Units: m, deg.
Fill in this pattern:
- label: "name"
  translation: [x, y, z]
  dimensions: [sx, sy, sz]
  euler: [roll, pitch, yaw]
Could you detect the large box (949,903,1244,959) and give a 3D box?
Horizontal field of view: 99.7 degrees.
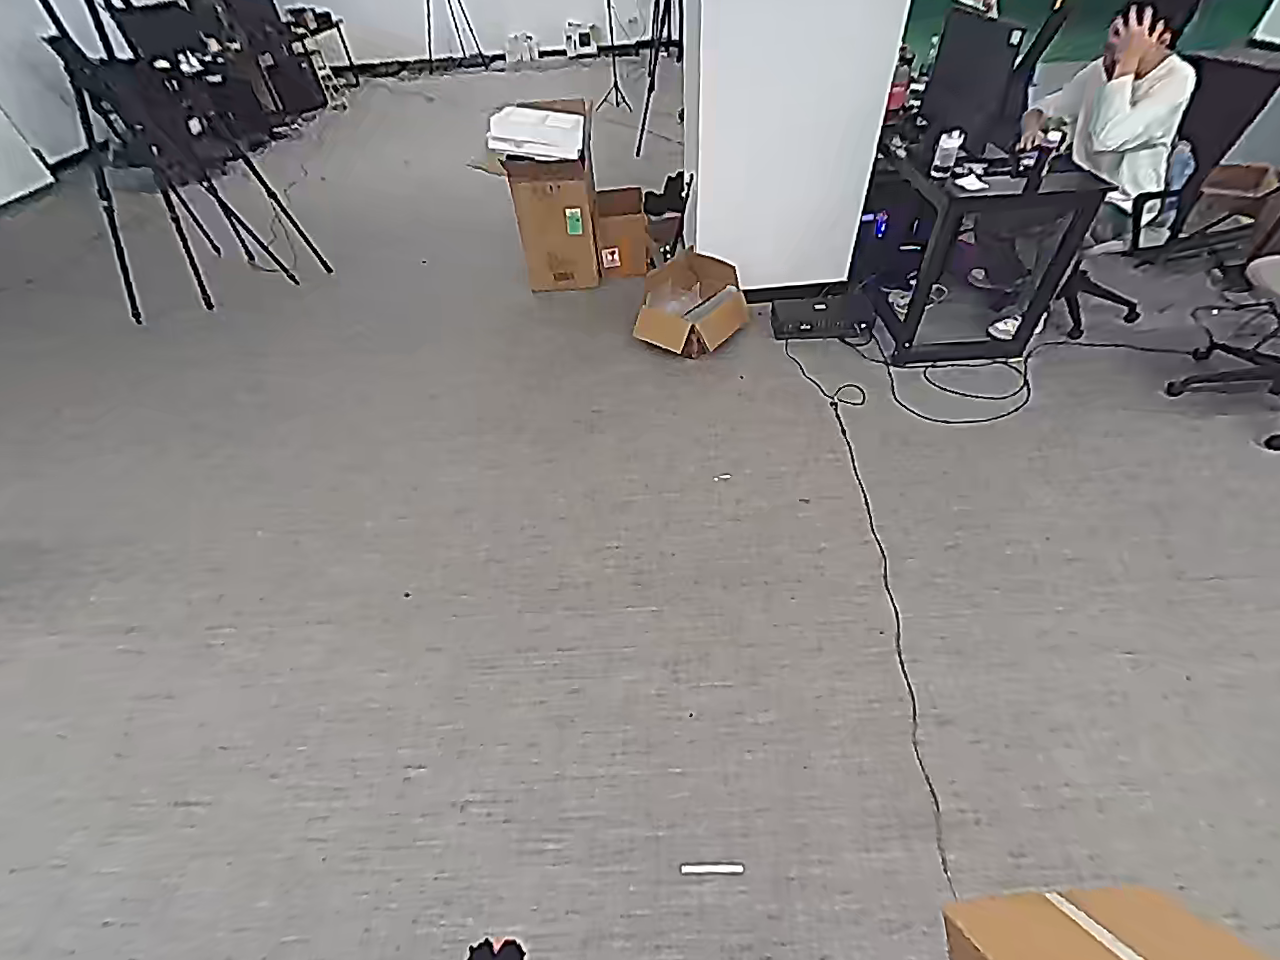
- label: "large box"
  translation: [0.599, 0.729, 0.556]
  dimensions: [0.320, 0.408, 0.320]
  euler: [-4, 81, -1]
